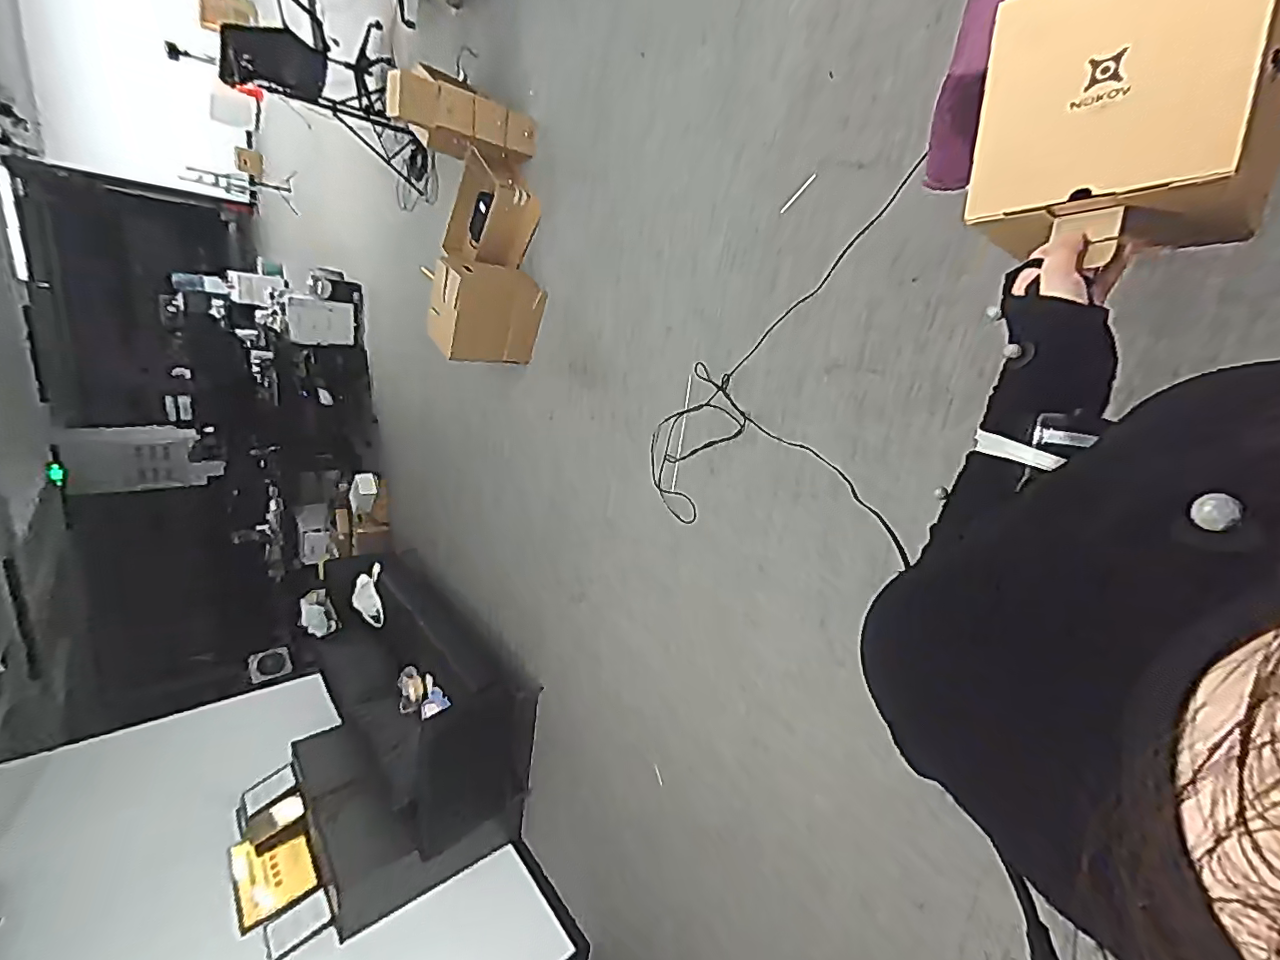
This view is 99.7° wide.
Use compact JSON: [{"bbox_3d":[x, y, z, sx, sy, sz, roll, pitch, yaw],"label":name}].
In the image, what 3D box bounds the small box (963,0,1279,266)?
[{"bbox_3d":[0.404,-0.296,0.453,0.168,0.176,0.179,15,104,49],"label":"small box"}]
